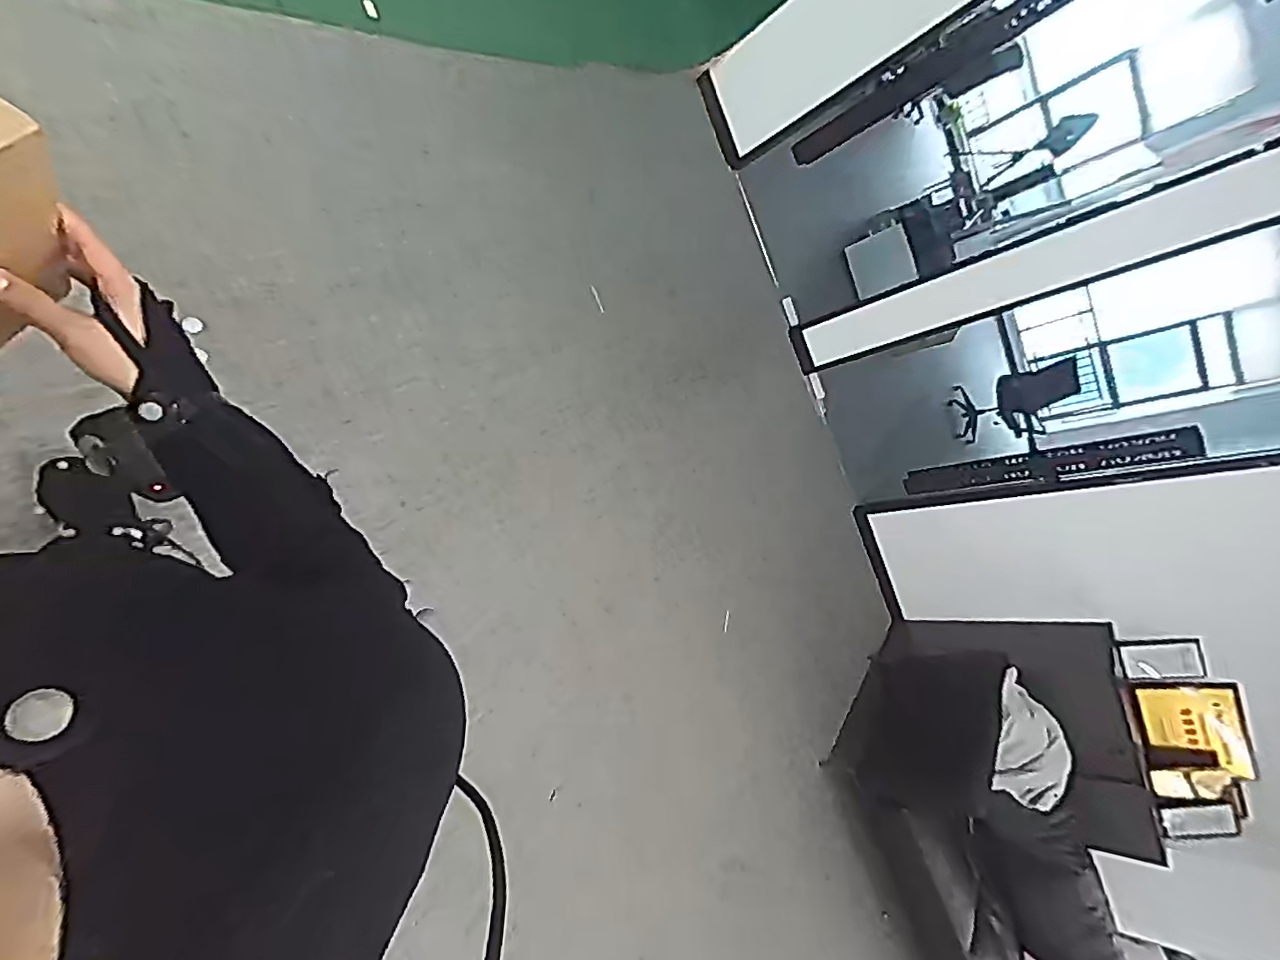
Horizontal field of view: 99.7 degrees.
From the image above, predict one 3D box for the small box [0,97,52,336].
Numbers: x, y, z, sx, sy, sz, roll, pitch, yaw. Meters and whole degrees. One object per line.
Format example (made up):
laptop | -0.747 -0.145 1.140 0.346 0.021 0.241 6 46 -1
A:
small box | -0.462 -0.144 0.274 0.168 0.176 0.179 35 53 -28
